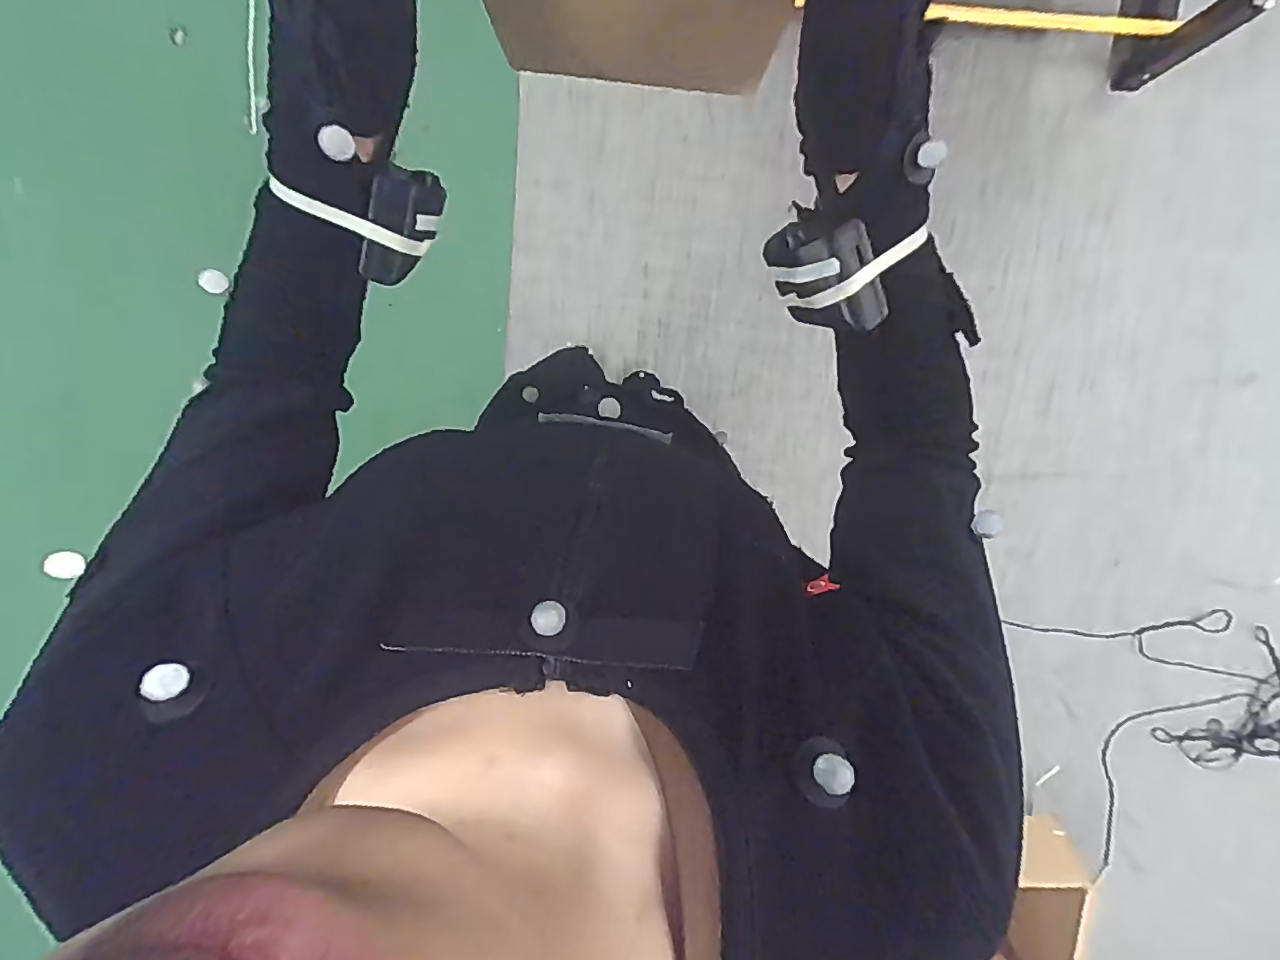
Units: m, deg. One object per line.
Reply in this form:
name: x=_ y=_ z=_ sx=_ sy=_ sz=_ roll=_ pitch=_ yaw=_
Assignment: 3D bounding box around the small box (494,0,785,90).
small box: x=0.004 y=-0.343 z=0.286 sx=0.179 sy=0.176 sz=0.168 roll=5 pitch=100 yaw=-2
